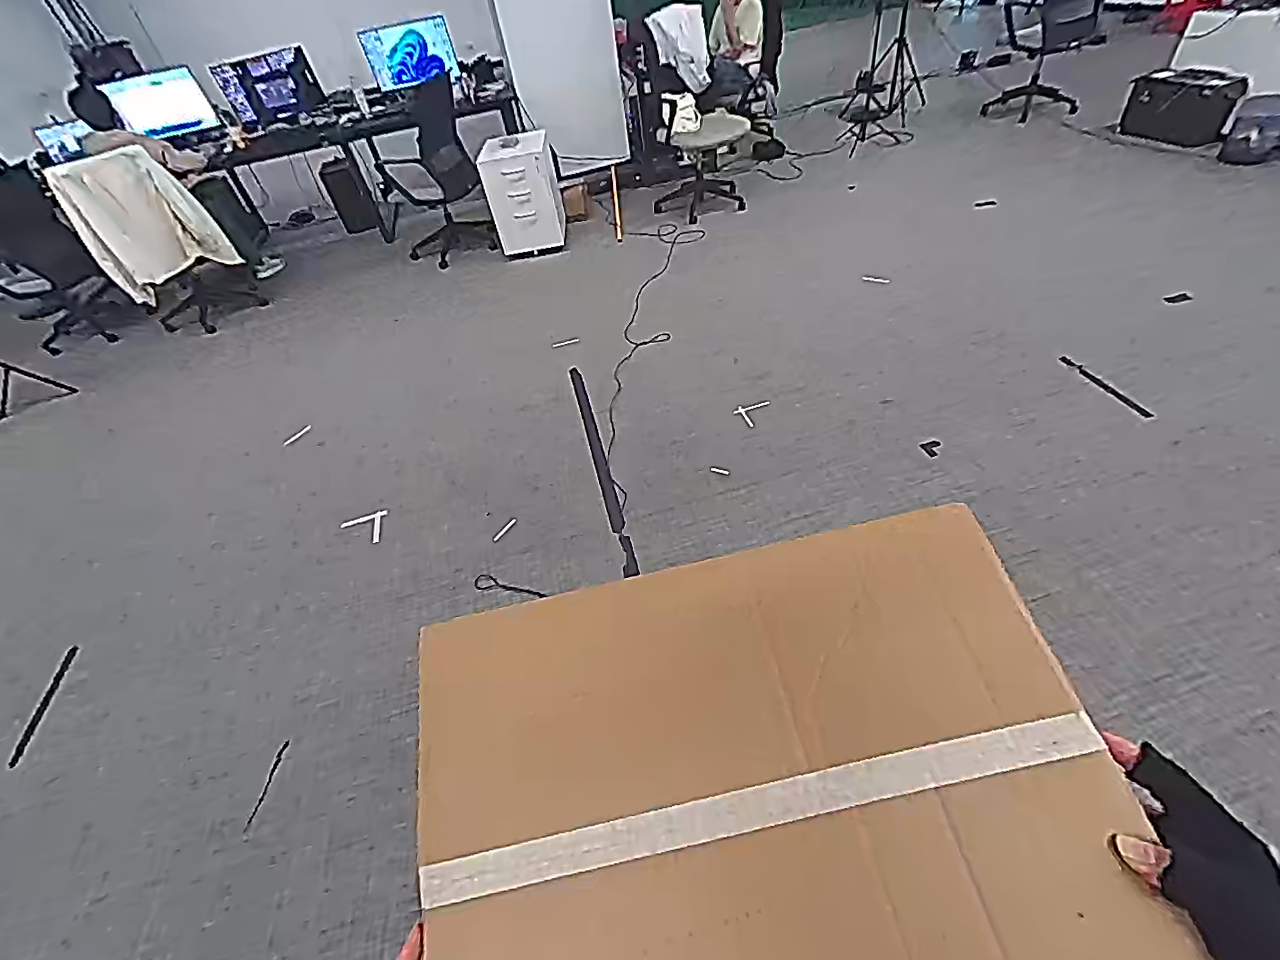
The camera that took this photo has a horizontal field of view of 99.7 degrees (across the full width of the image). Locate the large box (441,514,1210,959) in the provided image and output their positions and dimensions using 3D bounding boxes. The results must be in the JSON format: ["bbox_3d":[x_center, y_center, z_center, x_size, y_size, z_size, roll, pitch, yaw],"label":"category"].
[{"bbox_3d":[0.092,0.273,0.456,0.408,0.320,0.320,-14,61,1],"label":"large box"}]
